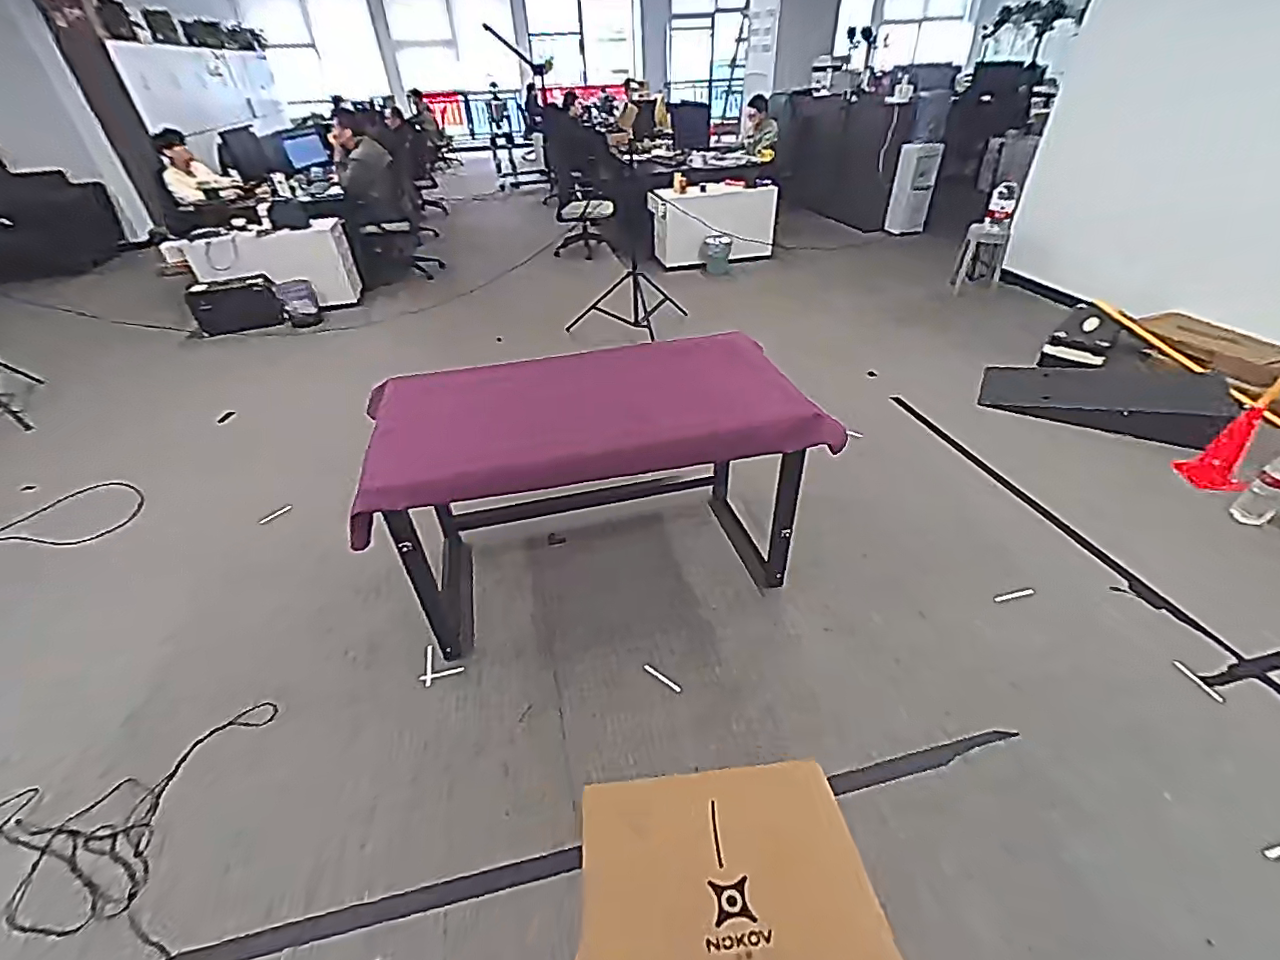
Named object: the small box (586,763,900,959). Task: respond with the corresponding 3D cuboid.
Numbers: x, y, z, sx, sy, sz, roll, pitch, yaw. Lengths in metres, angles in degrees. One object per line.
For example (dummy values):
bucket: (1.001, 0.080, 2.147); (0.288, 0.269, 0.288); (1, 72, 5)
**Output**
small box: (0.056, 0.315, 0.333); (0.168, 0.176, 0.179); (-4, 26, -3)
